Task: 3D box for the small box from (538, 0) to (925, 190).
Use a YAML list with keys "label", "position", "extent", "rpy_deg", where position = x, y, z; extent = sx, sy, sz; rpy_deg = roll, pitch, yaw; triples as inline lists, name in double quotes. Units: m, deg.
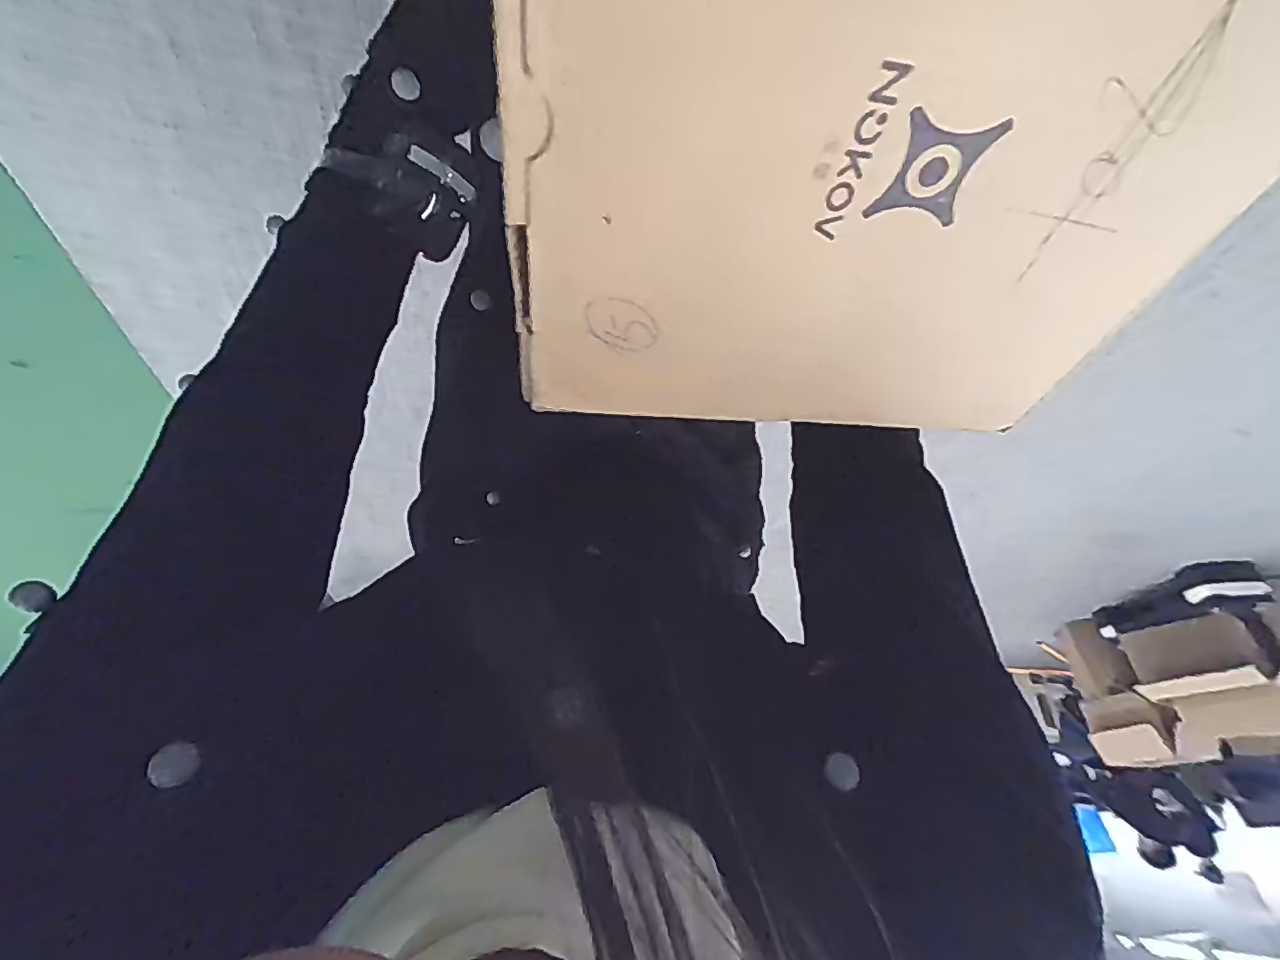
- label: "small box"
  position: [0.038, -0.277, 0.264]
  extent: [0.168, 0.176, 0.179]
  rpy_deg: [1, 143, -7]
